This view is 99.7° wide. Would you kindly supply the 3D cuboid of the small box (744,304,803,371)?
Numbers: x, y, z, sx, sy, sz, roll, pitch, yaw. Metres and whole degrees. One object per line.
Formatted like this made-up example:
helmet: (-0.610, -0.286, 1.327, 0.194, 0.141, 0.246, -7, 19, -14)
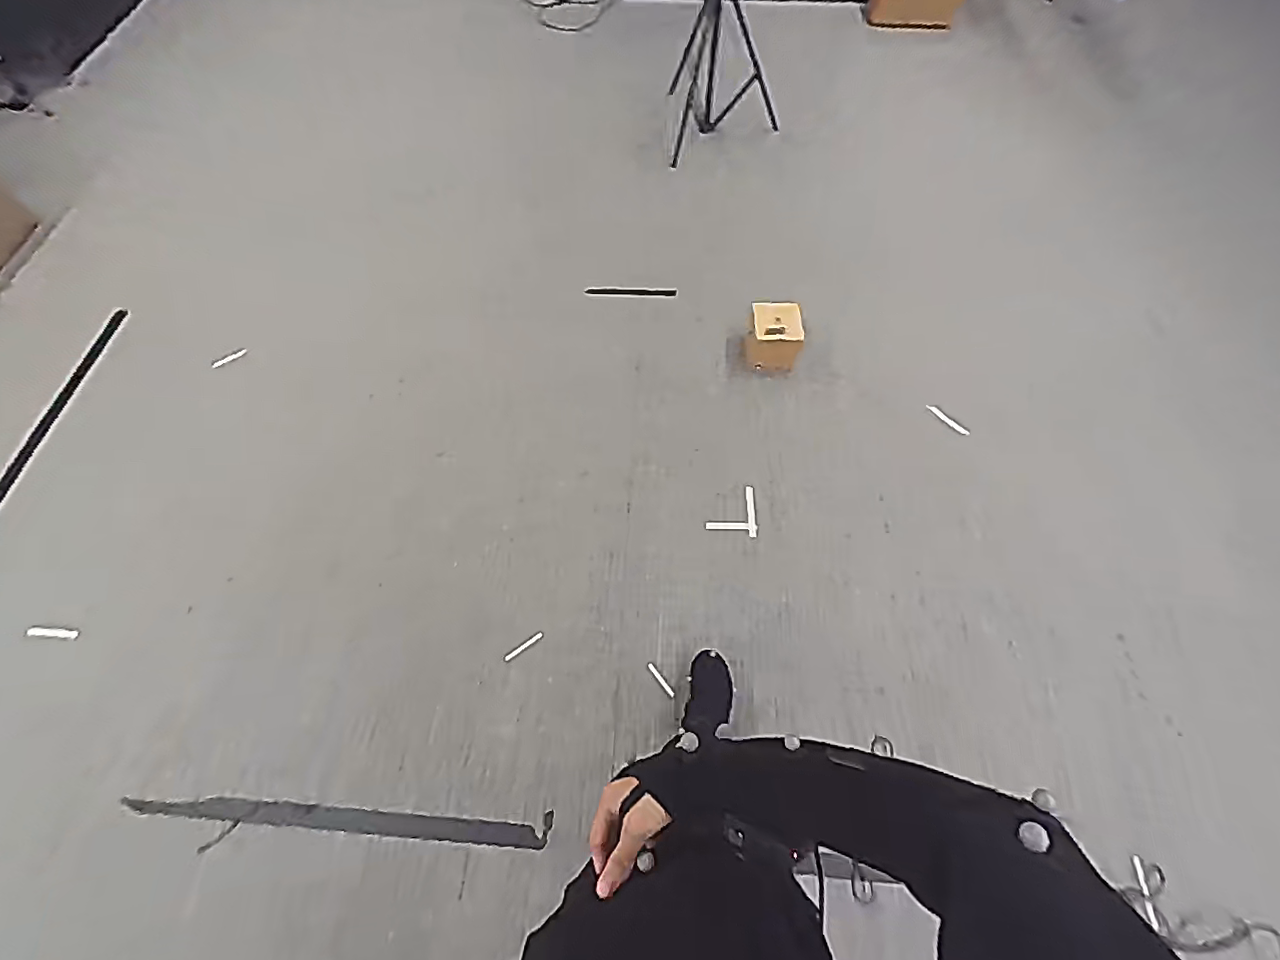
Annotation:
small box: (0.470, -0.503, 1.926, 0.168, 0.176, 0.179, 0, 61, 0)
